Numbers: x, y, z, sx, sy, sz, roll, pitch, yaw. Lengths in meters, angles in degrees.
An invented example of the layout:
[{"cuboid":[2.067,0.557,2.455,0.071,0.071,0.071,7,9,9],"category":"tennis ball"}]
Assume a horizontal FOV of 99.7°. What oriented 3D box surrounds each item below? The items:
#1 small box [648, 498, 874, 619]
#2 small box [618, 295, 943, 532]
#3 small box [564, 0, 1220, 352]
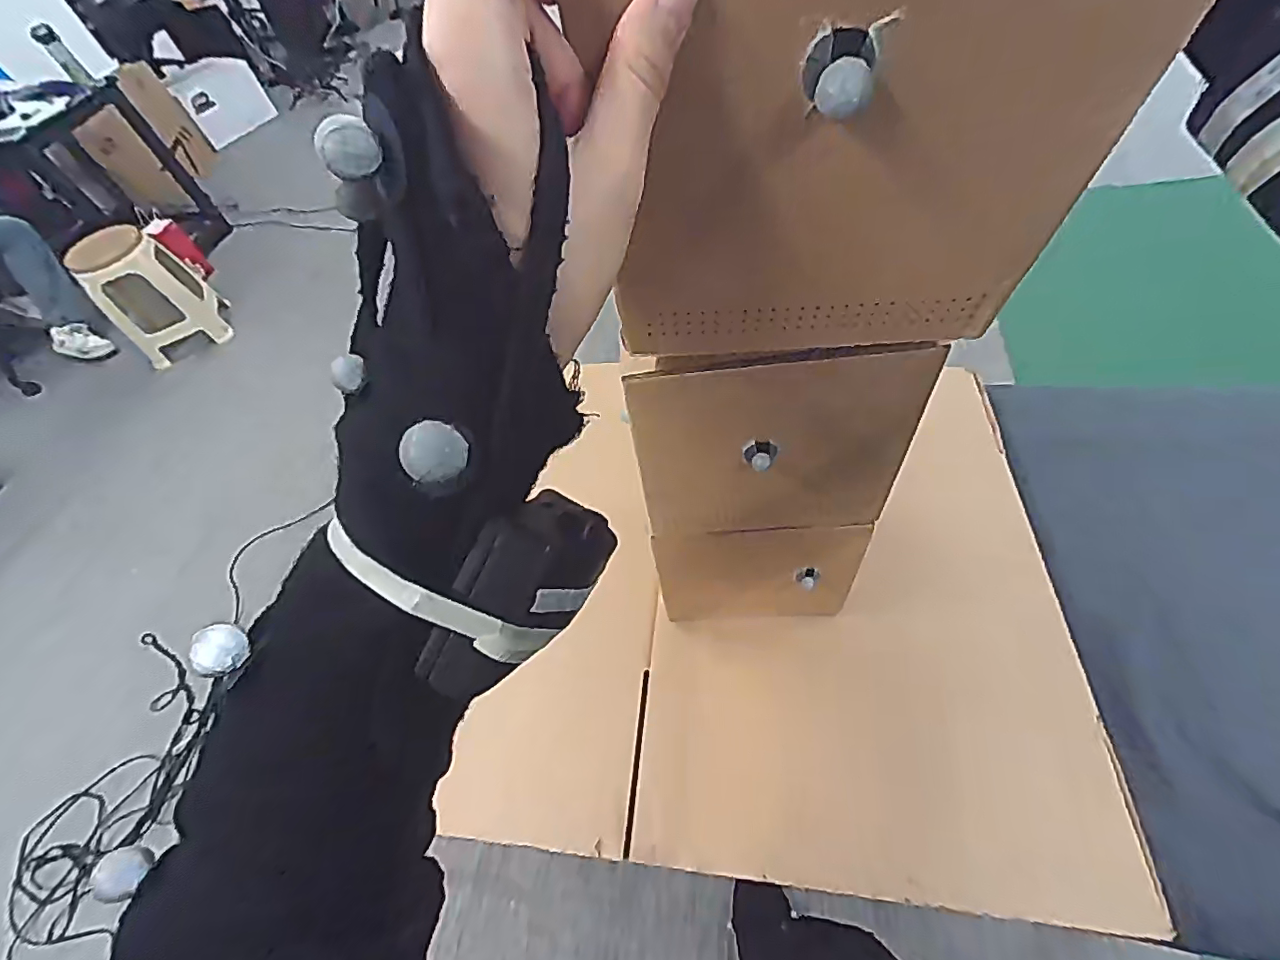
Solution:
[{"cuboid":[0.102,0.025,0.528,0.179,0.176,0.168,-5,52,6],"category":"small box"},{"cuboid":[0.083,-0.076,0.399,0.179,0.176,0.168,-5,52,6],"category":"small box"},{"cuboid":[0.075,-0.173,0.233,0.179,0.176,0.168,-2,64,7],"category":"small box"}]
